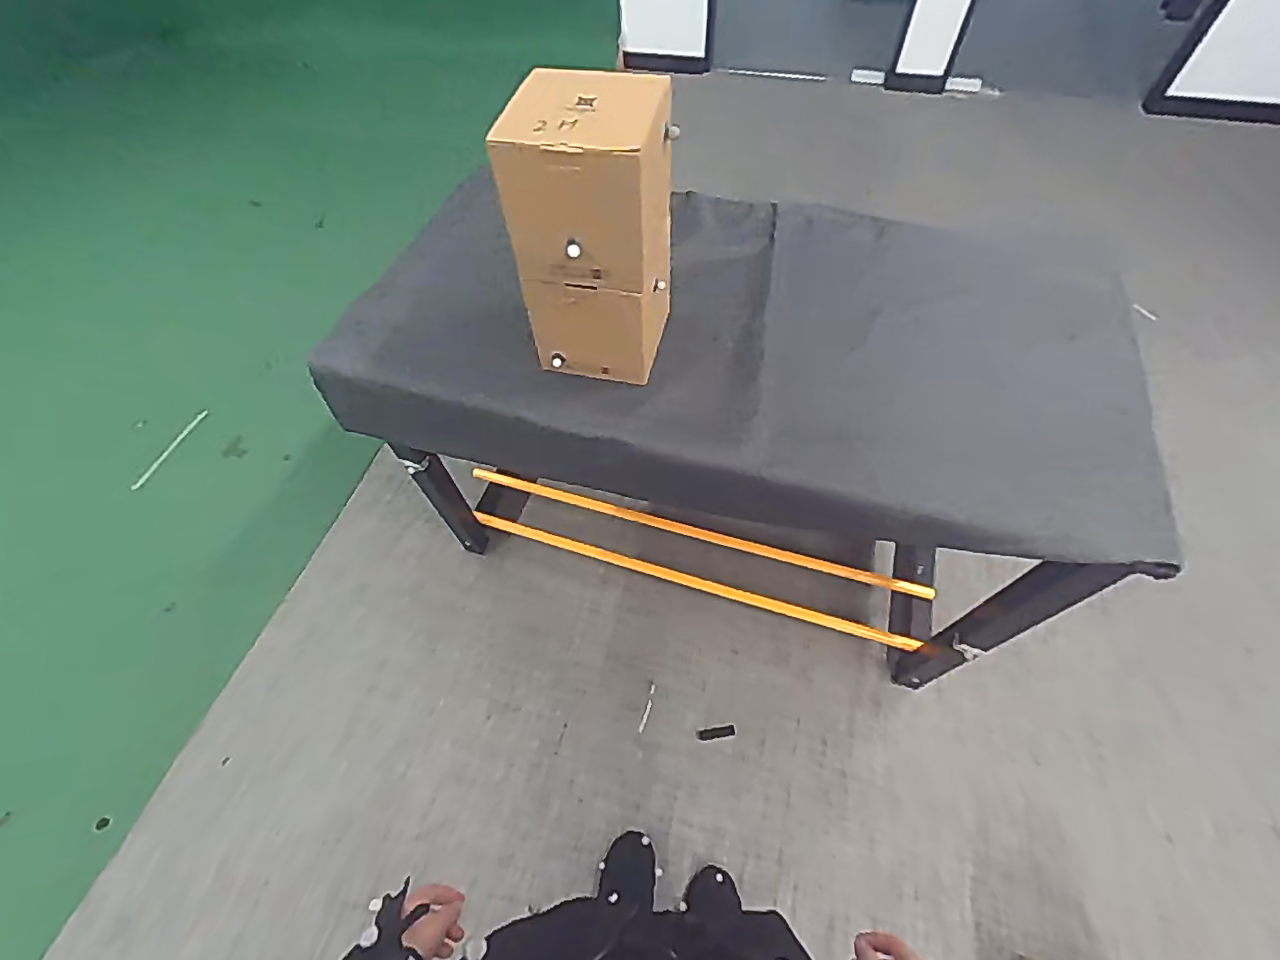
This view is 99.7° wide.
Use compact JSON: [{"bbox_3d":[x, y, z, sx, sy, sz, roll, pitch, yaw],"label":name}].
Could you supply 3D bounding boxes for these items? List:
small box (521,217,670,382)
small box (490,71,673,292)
[{"bbox_3d":[-0.052,-0.268,0.794,0.168,0.176,0.179,11,58,9],"label":"small box"},{"bbox_3d":[-0.057,-0.359,0.656,0.168,0.176,0.179,9,58,8],"label":"small box"}]
